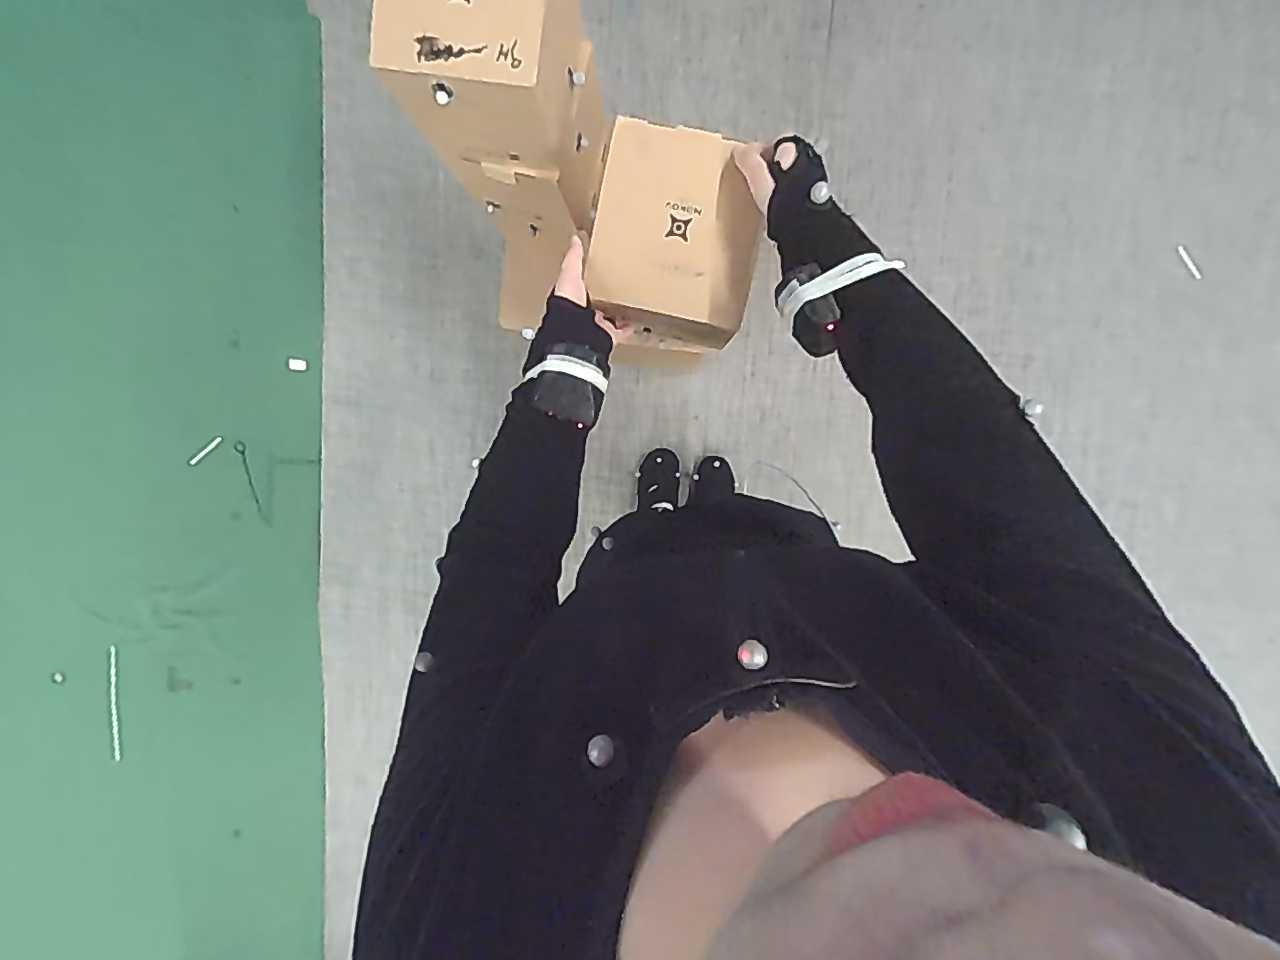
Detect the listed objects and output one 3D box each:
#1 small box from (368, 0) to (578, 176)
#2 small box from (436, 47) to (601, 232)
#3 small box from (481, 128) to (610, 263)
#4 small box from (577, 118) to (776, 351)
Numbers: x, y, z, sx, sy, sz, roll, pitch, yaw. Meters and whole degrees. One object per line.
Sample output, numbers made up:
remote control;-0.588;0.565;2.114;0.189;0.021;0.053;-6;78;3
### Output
small box;-0.168;-0.474;0.597;0.168;0.176;0.179;9;94;2
small box;-0.158;-0.480;0.762;0.168;0.176;0.179;16;94;1
small box;-0.148;-0.491;0.926;0.179;0.176;0.168;13;95;0
small box;0.037;-0.257;0.608;0.168;0.176;0.179;13;97;2
